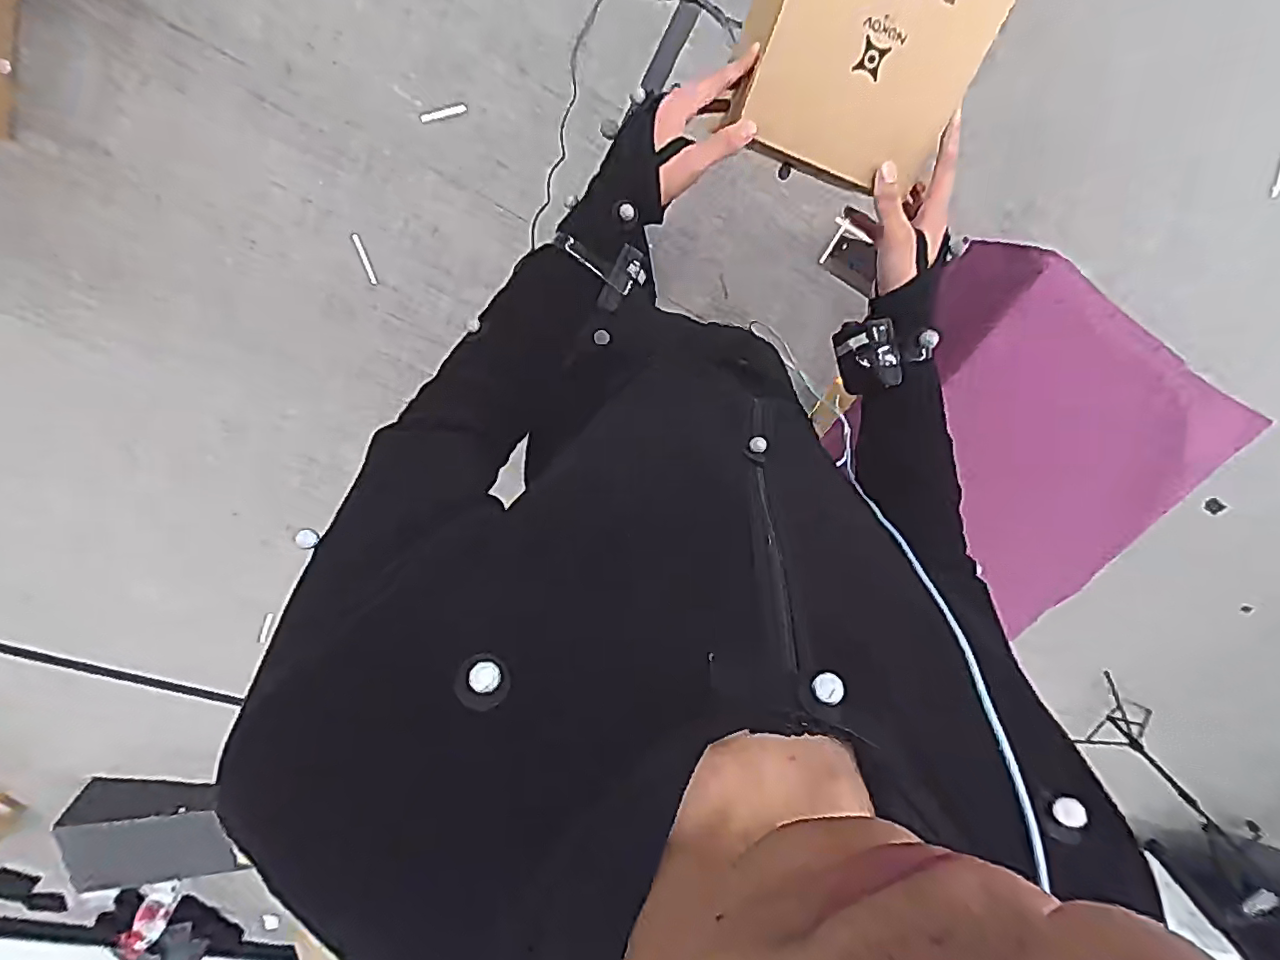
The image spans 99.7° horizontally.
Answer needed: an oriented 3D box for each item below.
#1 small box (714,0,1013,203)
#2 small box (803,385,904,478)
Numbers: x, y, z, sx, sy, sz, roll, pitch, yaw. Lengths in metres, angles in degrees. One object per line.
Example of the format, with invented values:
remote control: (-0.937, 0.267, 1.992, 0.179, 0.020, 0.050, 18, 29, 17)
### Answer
small box: (0.175, -0.373, 0.475, 0.168, 0.176, 0.179, 15, 121, -12)
small box: (0.591, -0.143, 1.526, 0.168, 0.176, 0.179, 21, 117, -18)
